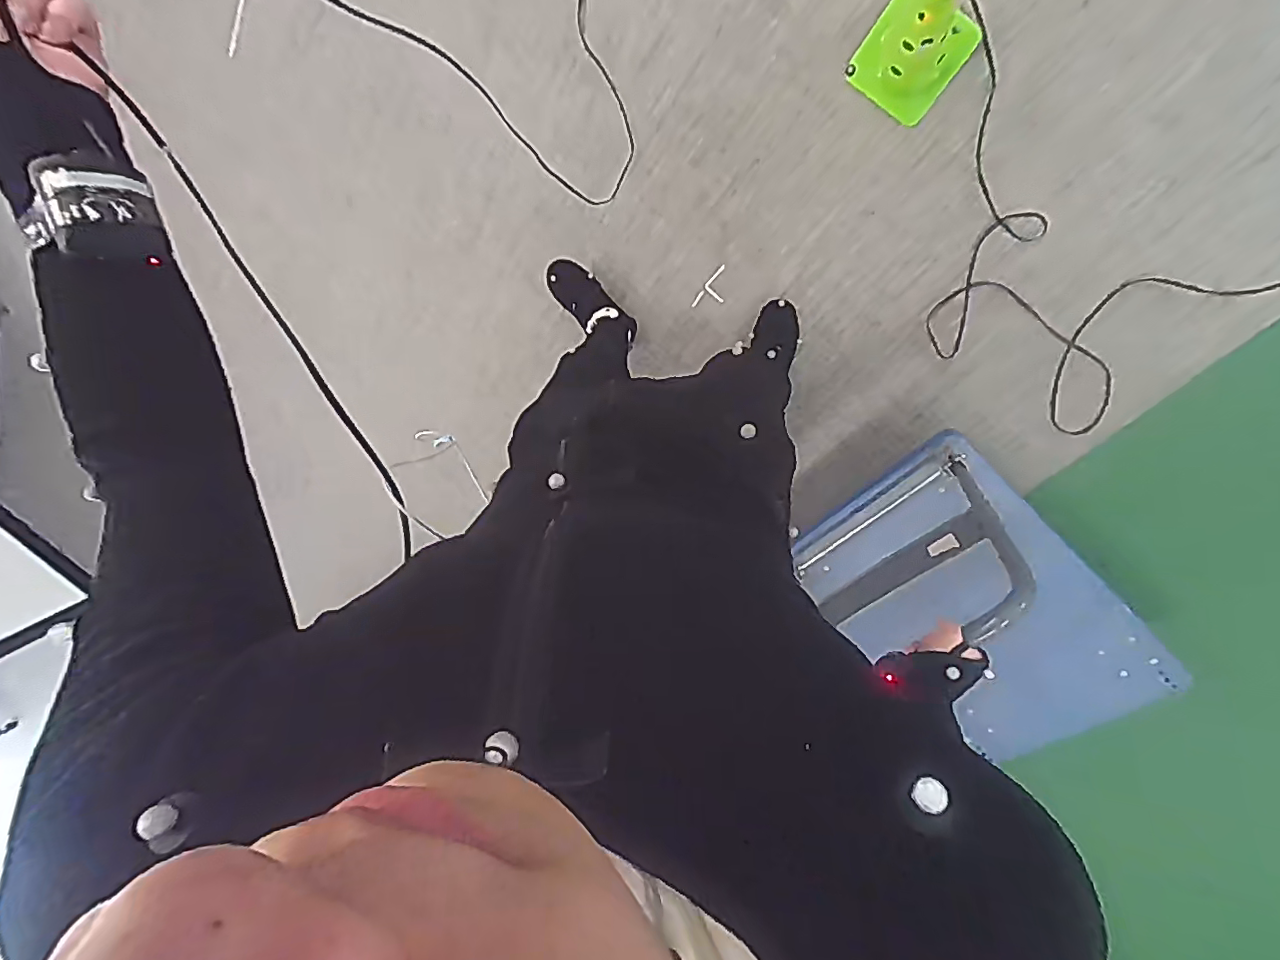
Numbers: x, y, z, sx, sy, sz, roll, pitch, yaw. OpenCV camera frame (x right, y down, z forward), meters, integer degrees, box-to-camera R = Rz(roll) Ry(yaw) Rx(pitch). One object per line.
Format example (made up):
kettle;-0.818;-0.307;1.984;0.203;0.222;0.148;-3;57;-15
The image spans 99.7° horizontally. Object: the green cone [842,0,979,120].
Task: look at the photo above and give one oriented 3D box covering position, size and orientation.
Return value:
green cone;0.516;-0.840;0.981;0.200;0.368;0.202;36;117;0
